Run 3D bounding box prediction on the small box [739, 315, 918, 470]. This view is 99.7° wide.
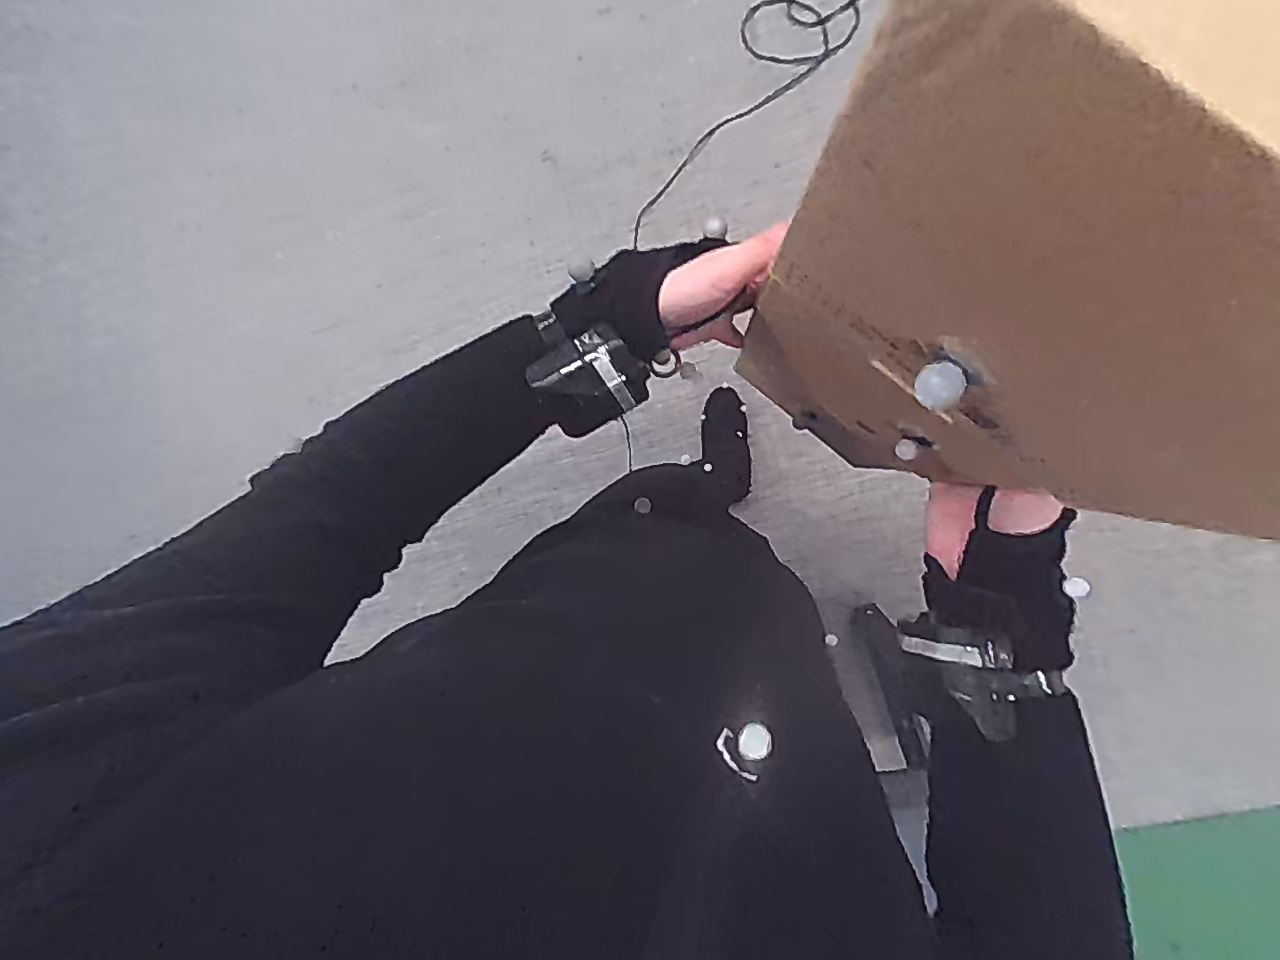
[{"bbox_3d":[0.201,-0.126,0.461,0.168,0.176,0.179,40,97,4],"label":"small box"}]

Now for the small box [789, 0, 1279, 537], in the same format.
[{"bbox_3d":[0.159,-0.100,0.137,0.168,0.176,0.179,39,98,3],"label":"small box"}]

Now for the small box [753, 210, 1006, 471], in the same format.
[{"bbox_3d":[0.178,-0.115,0.300,0.168,0.176,0.179,37,96,3],"label":"small box"}]
